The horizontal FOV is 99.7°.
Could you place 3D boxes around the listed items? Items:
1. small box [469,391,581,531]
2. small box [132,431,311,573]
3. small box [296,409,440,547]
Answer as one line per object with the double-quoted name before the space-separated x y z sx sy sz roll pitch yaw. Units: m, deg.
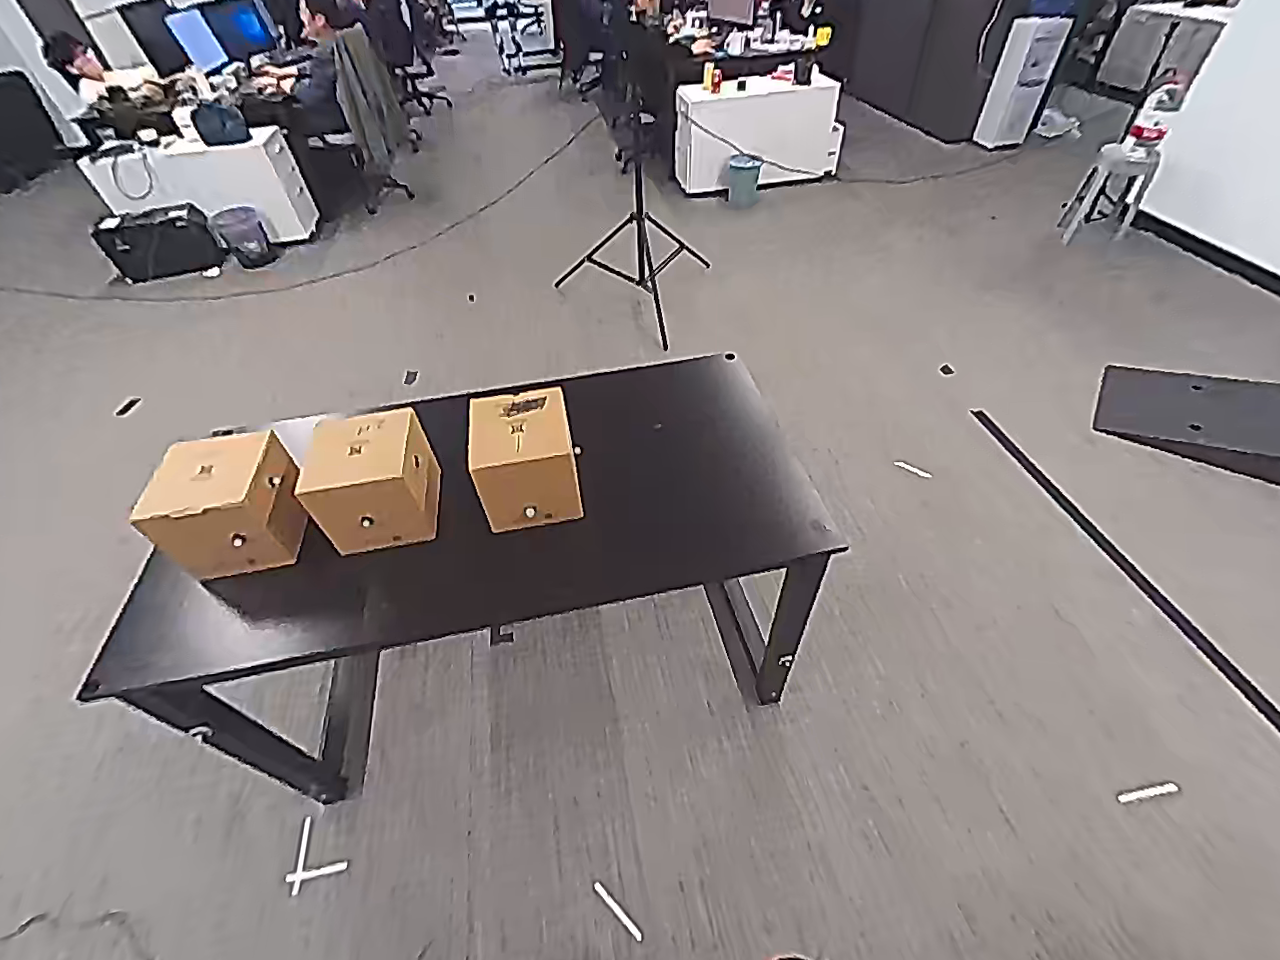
"small box" -0.203 -0.034 0.977 0.168 0.176 0.179 -10 48 -5
"small box" -0.700 0.044 0.936 0.168 0.176 0.179 -10 46 -8
"small box" -0.465 0.003 0.957 0.168 0.176 0.179 -9 47 -6
